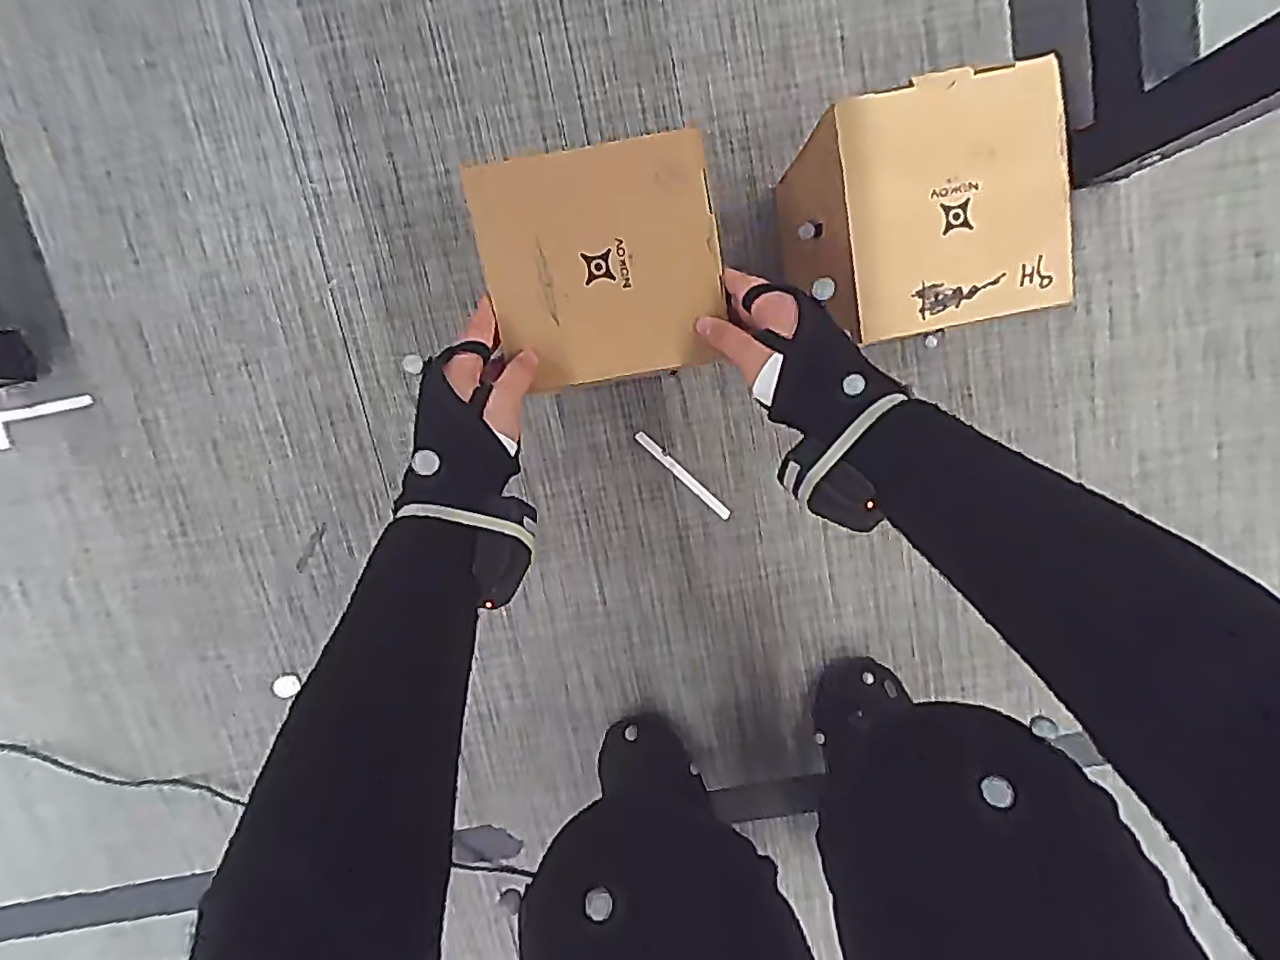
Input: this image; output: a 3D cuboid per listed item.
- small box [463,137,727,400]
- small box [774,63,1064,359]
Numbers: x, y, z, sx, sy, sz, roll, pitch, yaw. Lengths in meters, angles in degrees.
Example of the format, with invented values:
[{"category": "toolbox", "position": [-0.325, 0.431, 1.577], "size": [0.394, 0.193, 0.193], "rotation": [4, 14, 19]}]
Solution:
[{"category": "small box", "position": [-0.033, -0.169, 0.485], "size": [0.179, 0.176, 0.168], "rotation": [-11, 98, 1]}, {"category": "small box", "position": [0.229, -0.216, 0.484], "size": [0.168, 0.176, 0.179], "rotation": [-11, 98, 2]}]
